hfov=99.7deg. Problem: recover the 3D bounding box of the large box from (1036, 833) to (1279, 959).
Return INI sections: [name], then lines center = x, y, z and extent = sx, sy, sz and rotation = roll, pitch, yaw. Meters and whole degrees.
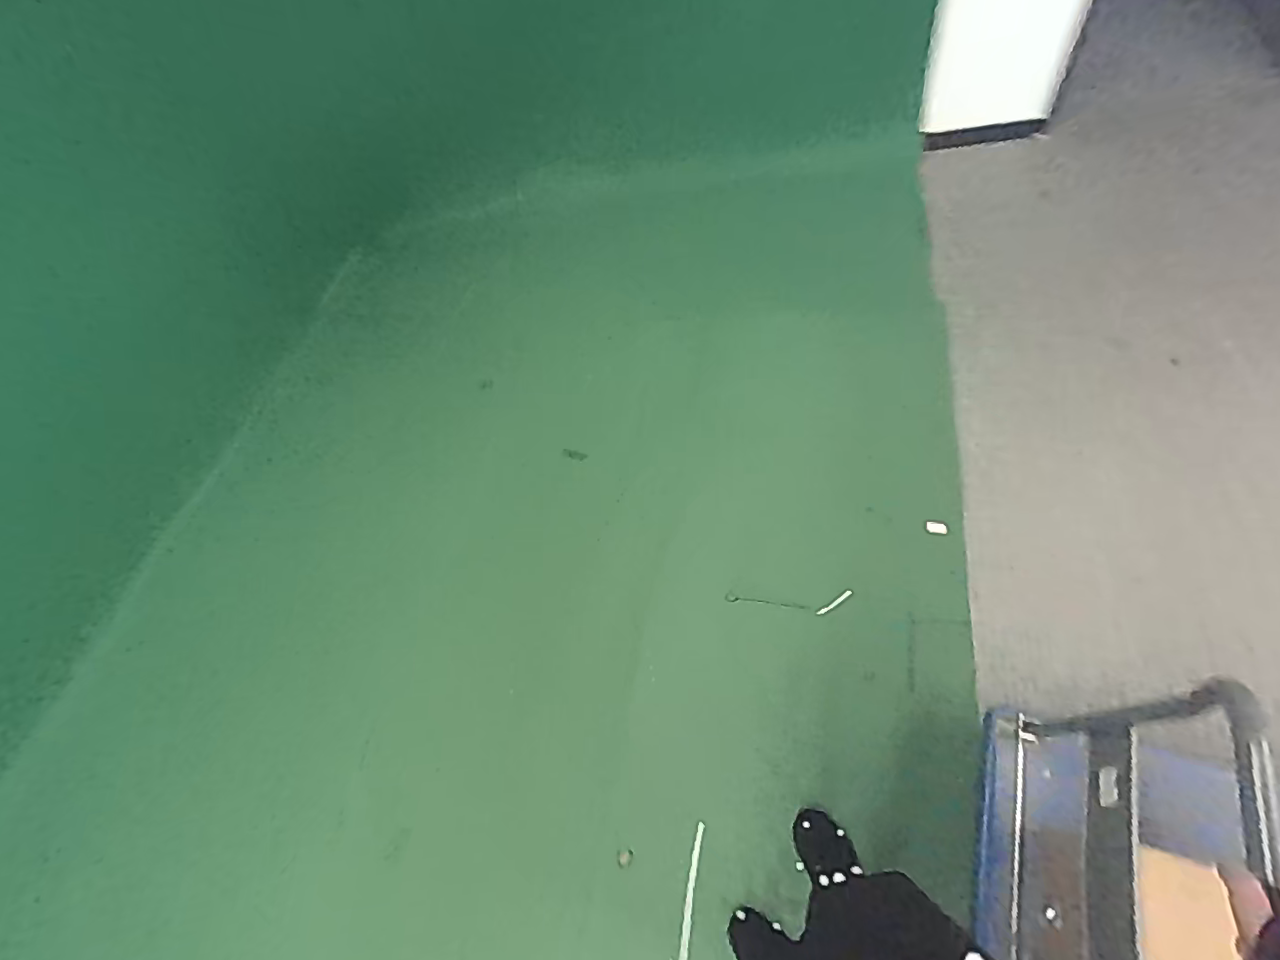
[large box]
center = 0.893, 0.777, 0.818
extent = 0.408, 0.320, 0.320
rotation = 10, 64, 20
